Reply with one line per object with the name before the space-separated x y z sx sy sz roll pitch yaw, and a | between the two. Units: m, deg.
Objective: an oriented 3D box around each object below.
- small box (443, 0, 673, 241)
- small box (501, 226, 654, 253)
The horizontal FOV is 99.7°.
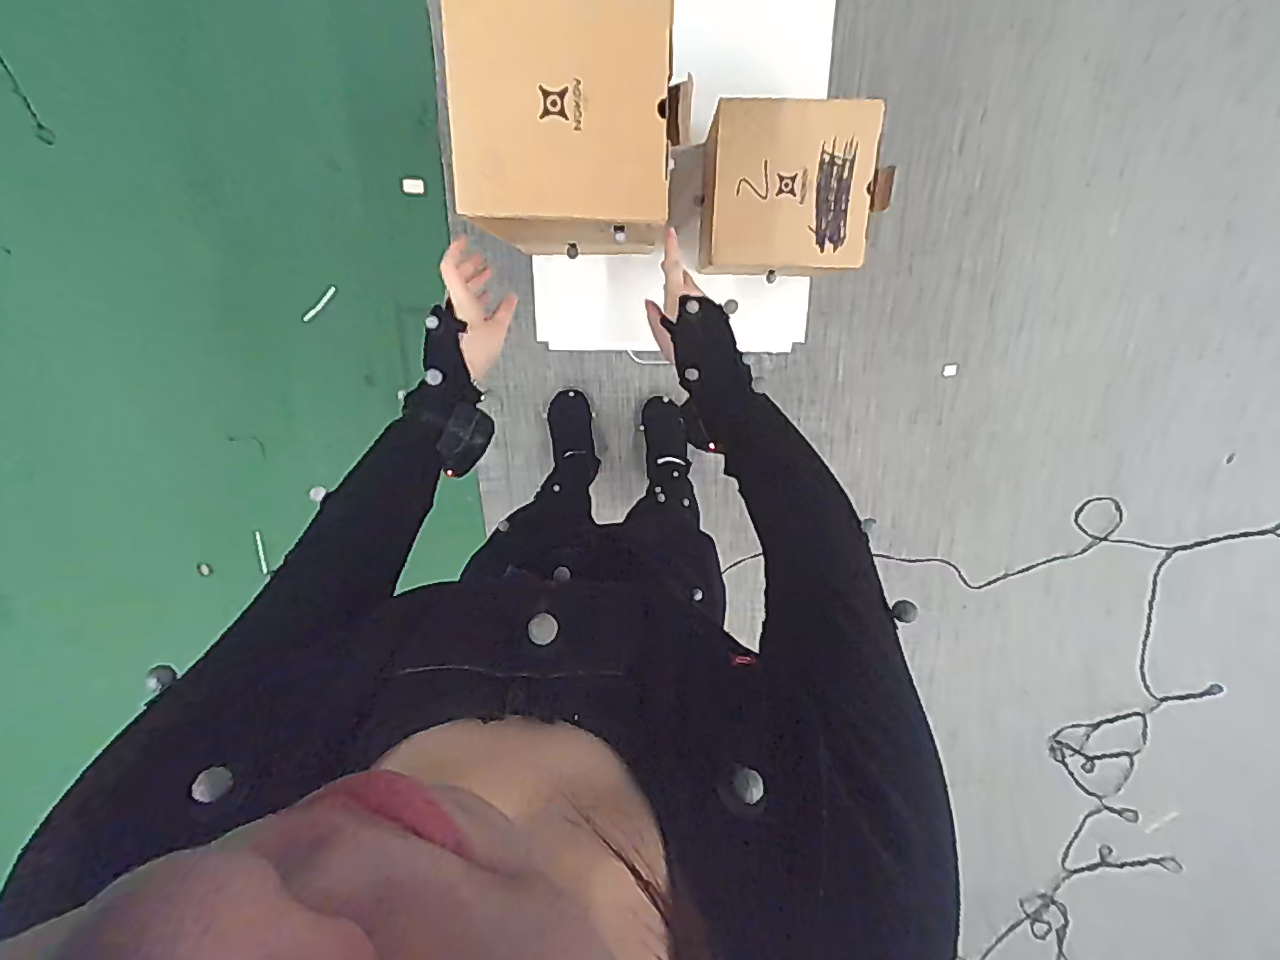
small box | -0.067 -0.324 0.502 0.179 0.176 0.168 0 107 -4
small box | -0.072 -0.374 0.658 0.179 0.176 0.168 -1 107 -1
